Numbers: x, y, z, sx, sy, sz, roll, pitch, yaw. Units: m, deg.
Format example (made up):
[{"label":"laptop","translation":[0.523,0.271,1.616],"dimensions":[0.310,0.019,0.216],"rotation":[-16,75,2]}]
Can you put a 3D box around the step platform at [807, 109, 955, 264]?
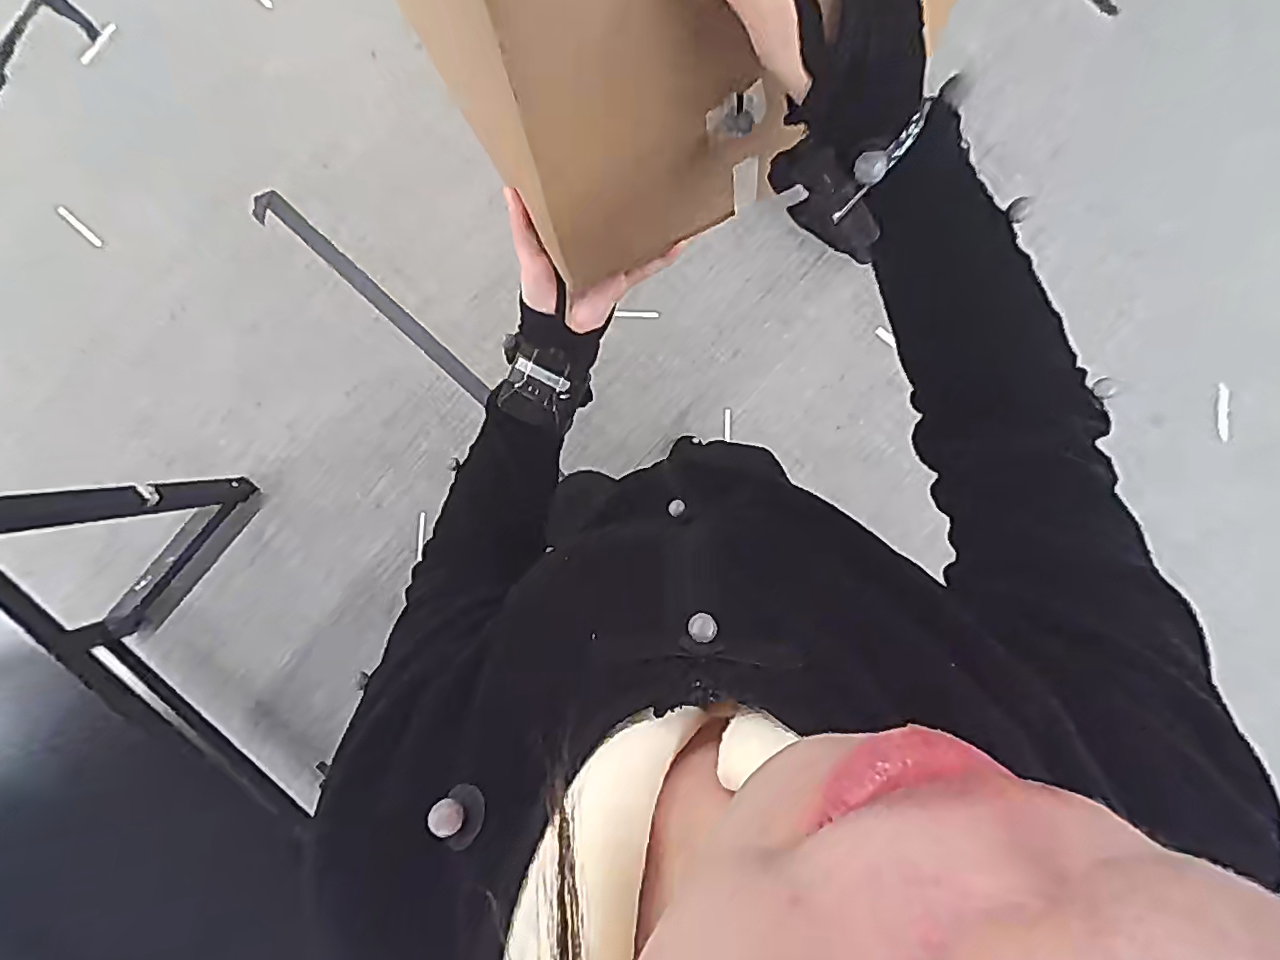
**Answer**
[{"label":"step platform","translation":[0.431,-0.892,1.336],"dimensions":[0.286,0.204,0.684],"rotation":[-42,90,3]}]

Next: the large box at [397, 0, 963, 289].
[{"label":"large box","translation":[-0.018,-0.417,0.343],"dimensions":[0.320,0.320,0.408],"rotation":[-29,72,-5]}]
